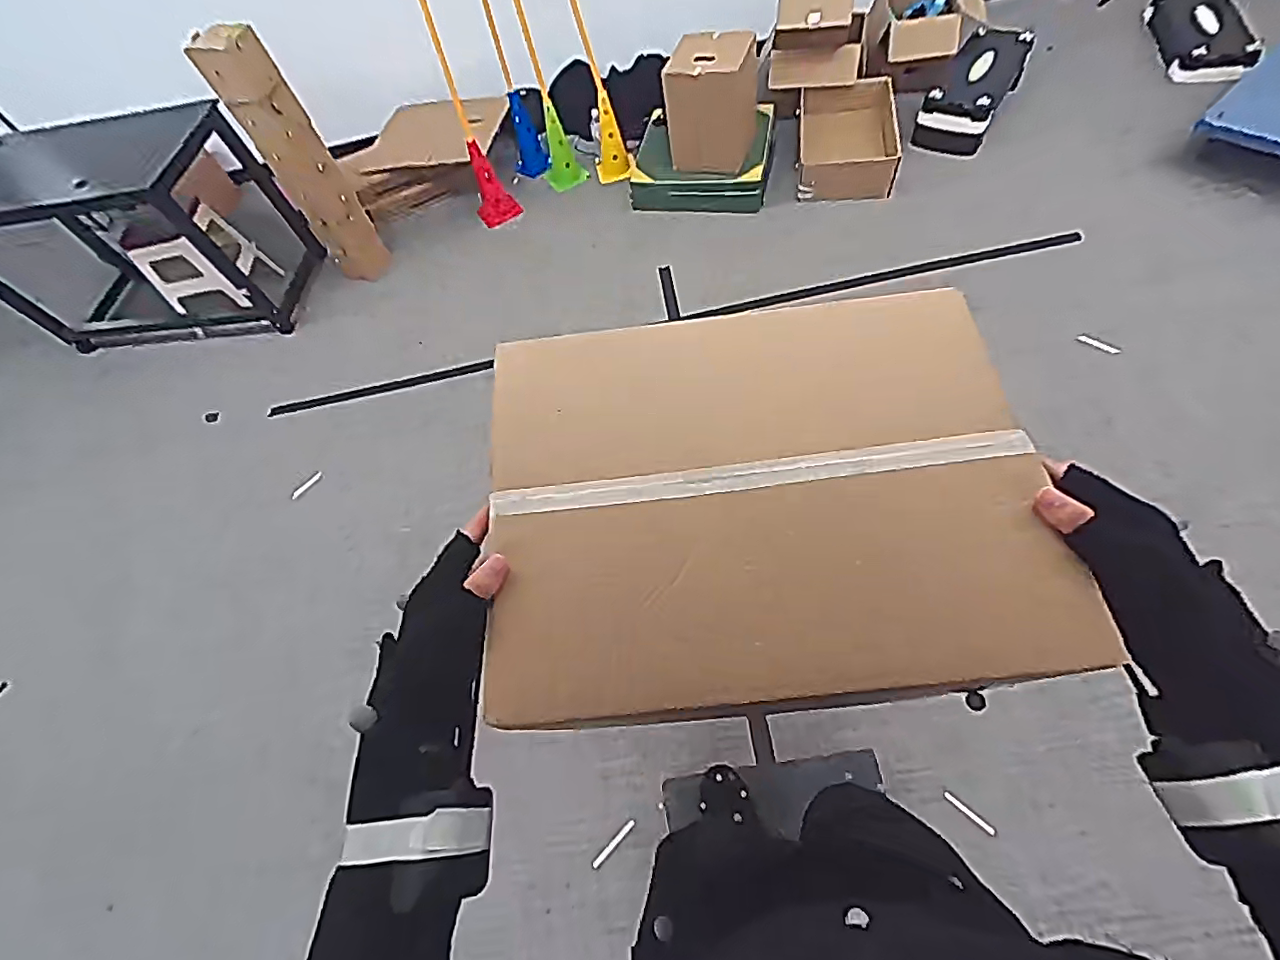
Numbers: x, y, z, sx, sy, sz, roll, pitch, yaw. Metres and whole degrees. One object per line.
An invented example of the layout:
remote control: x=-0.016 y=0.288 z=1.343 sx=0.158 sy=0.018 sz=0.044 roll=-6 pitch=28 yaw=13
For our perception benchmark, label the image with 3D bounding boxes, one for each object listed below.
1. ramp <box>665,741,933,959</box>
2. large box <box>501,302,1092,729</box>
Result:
ramp: x=0.374 y=1.102 z=1.087 sx=0.509 sy=0.206 sz=0.991 roll=-12 pitch=60 yaw=3
large box: x=0.102 y=0.065 z=0.555 sx=0.408 sy=0.320 sz=0.320 roll=-7 pitch=64 yaw=2
